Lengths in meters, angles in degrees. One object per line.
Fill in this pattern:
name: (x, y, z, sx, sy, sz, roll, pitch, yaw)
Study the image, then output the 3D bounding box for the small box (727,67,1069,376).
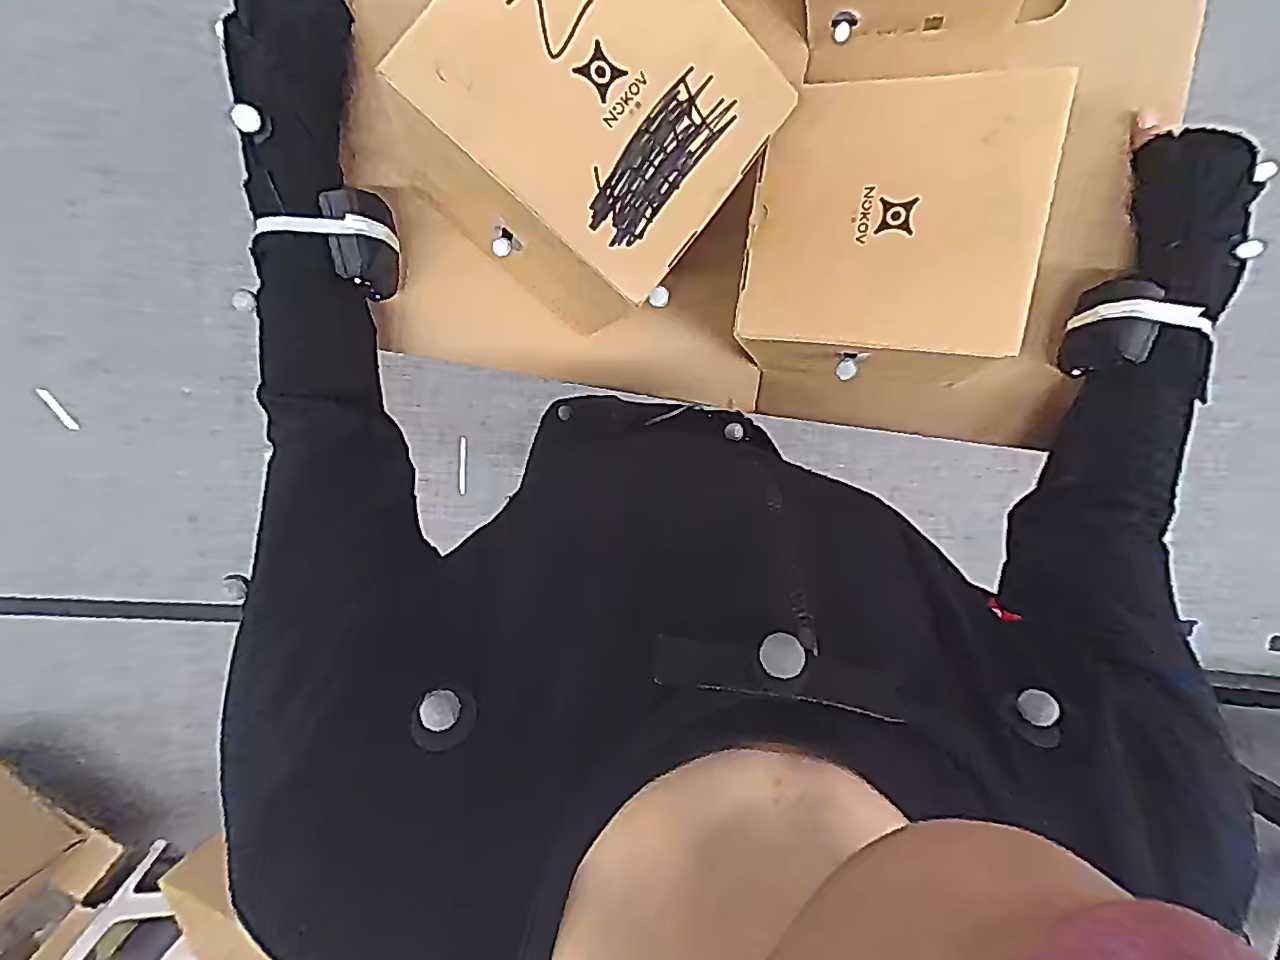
small box: (0.181, -0.178, 0.421, 0.179, 0.176, 0.168, 11, 97, 19)
